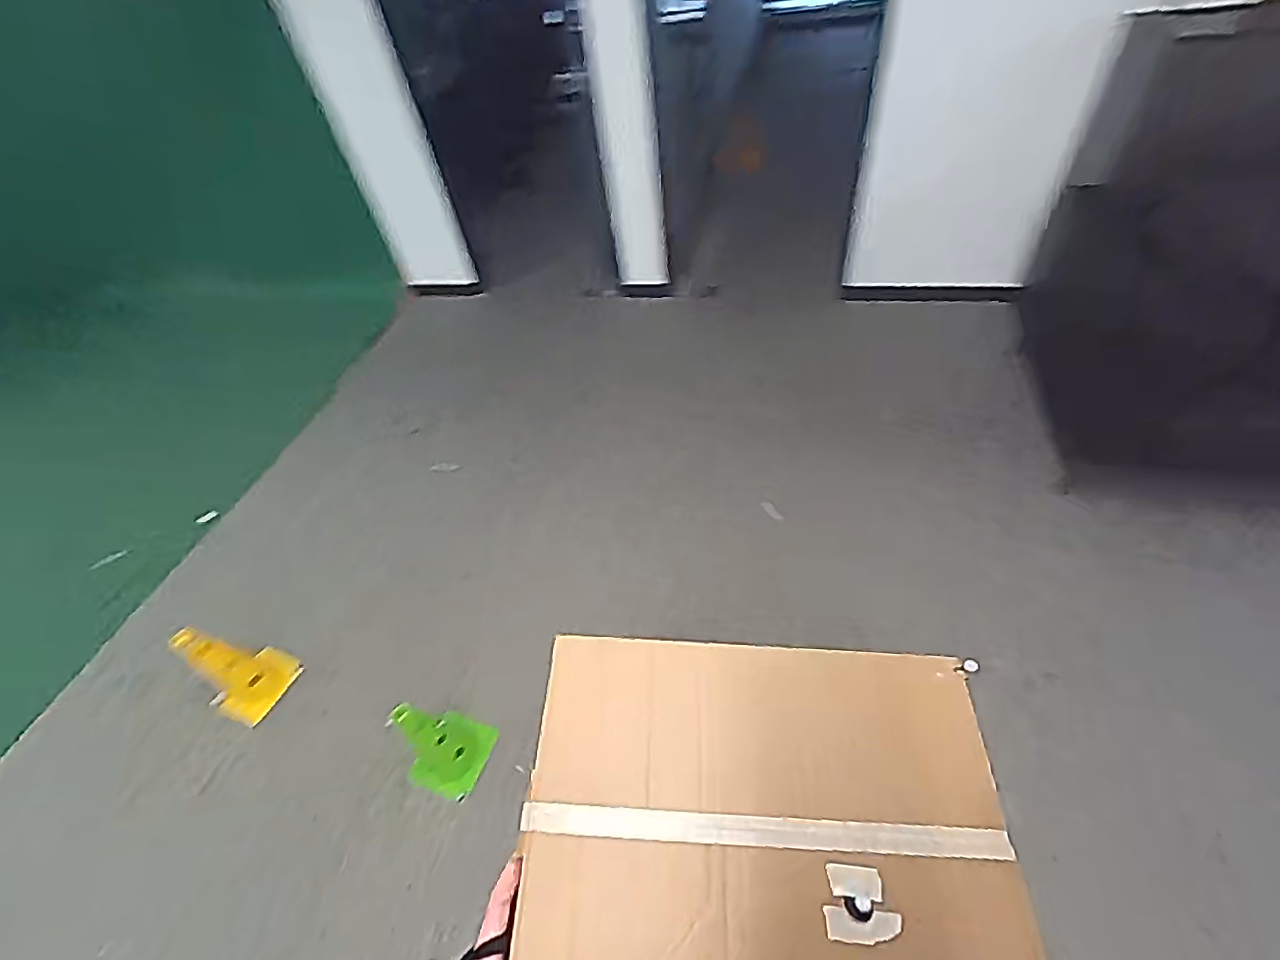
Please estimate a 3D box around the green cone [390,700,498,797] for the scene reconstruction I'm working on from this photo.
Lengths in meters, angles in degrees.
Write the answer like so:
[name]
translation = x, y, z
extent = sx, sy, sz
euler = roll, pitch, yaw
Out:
[green cone]
translation = -0.558, 0.670, 1.442
extent = 0.202, 0.368, 0.200
euler = 10, 50, 19
